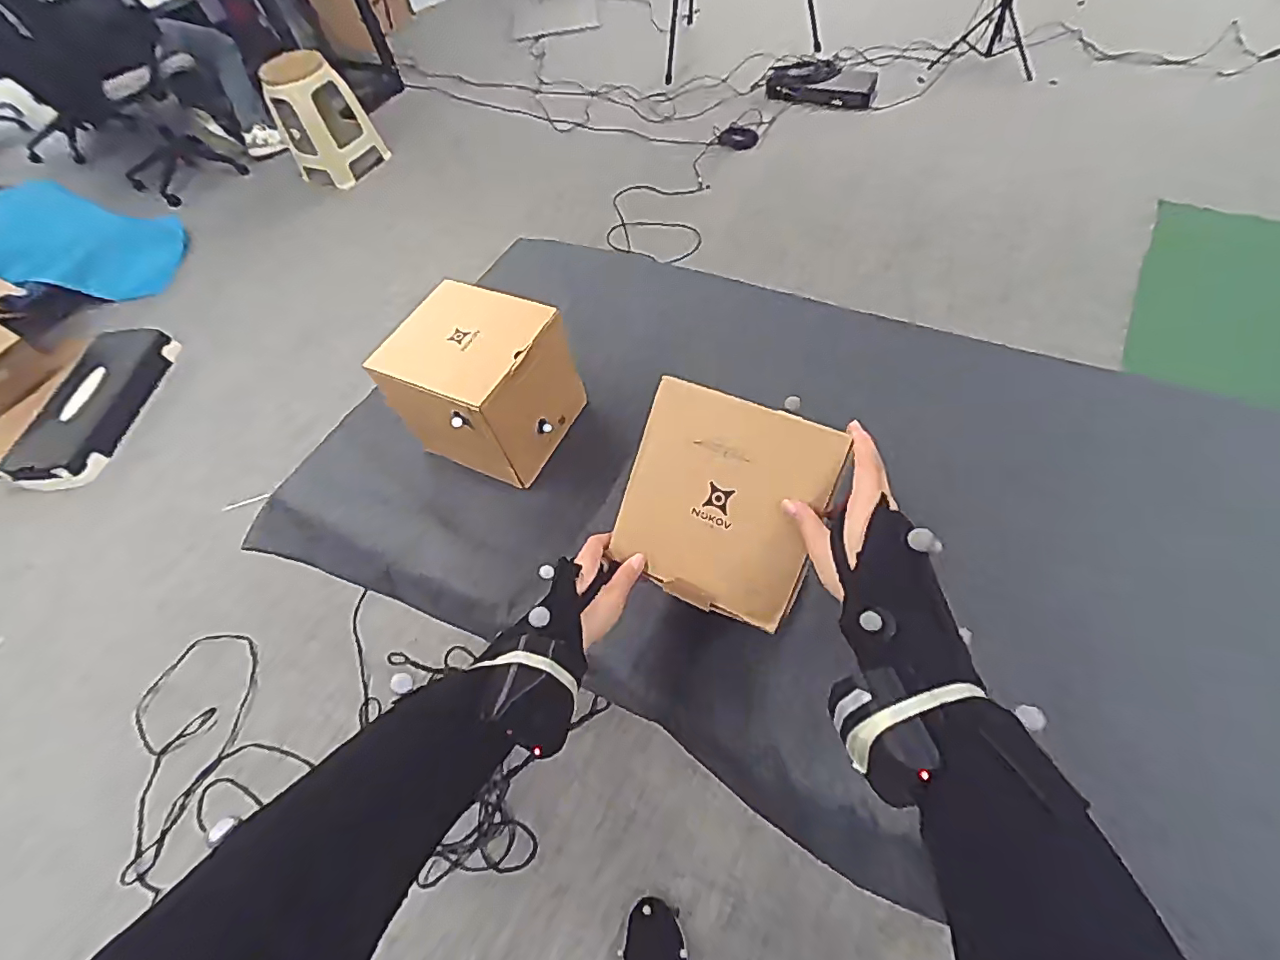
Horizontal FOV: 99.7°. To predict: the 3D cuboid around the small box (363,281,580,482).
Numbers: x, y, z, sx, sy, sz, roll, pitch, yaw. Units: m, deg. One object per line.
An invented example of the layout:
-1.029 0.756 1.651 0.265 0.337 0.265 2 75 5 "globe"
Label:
-0.200 -0.122 0.695 0.179 0.176 0.168 20 62 18 "small box"
